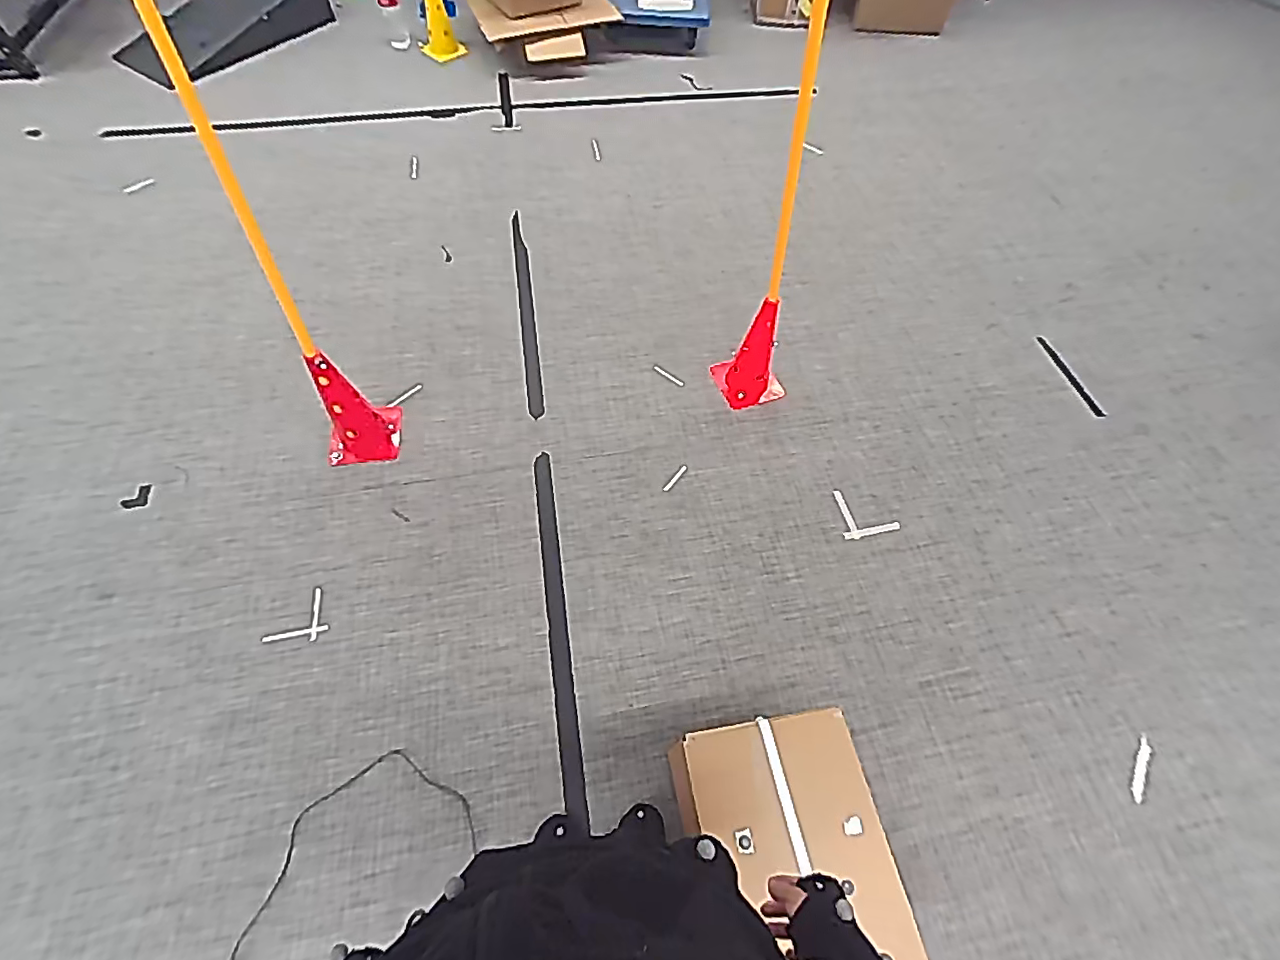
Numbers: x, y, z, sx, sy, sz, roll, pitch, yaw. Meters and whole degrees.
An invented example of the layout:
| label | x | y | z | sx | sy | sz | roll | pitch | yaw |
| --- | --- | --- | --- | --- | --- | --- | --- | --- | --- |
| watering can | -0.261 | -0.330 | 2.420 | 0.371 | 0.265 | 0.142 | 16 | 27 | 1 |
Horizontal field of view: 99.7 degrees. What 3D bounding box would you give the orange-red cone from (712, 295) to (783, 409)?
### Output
| label | x | y | z | sx | sy | sz | roll | pitch | yaw |
| --- | --- | --- | --- | --- | --- | --- | --- | --- | --- |
| orange-red cone | 0.364 | -0.412 | 1.645 | 0.199 | 0.360 | 0.198 | -15 | 62 | -12 |
